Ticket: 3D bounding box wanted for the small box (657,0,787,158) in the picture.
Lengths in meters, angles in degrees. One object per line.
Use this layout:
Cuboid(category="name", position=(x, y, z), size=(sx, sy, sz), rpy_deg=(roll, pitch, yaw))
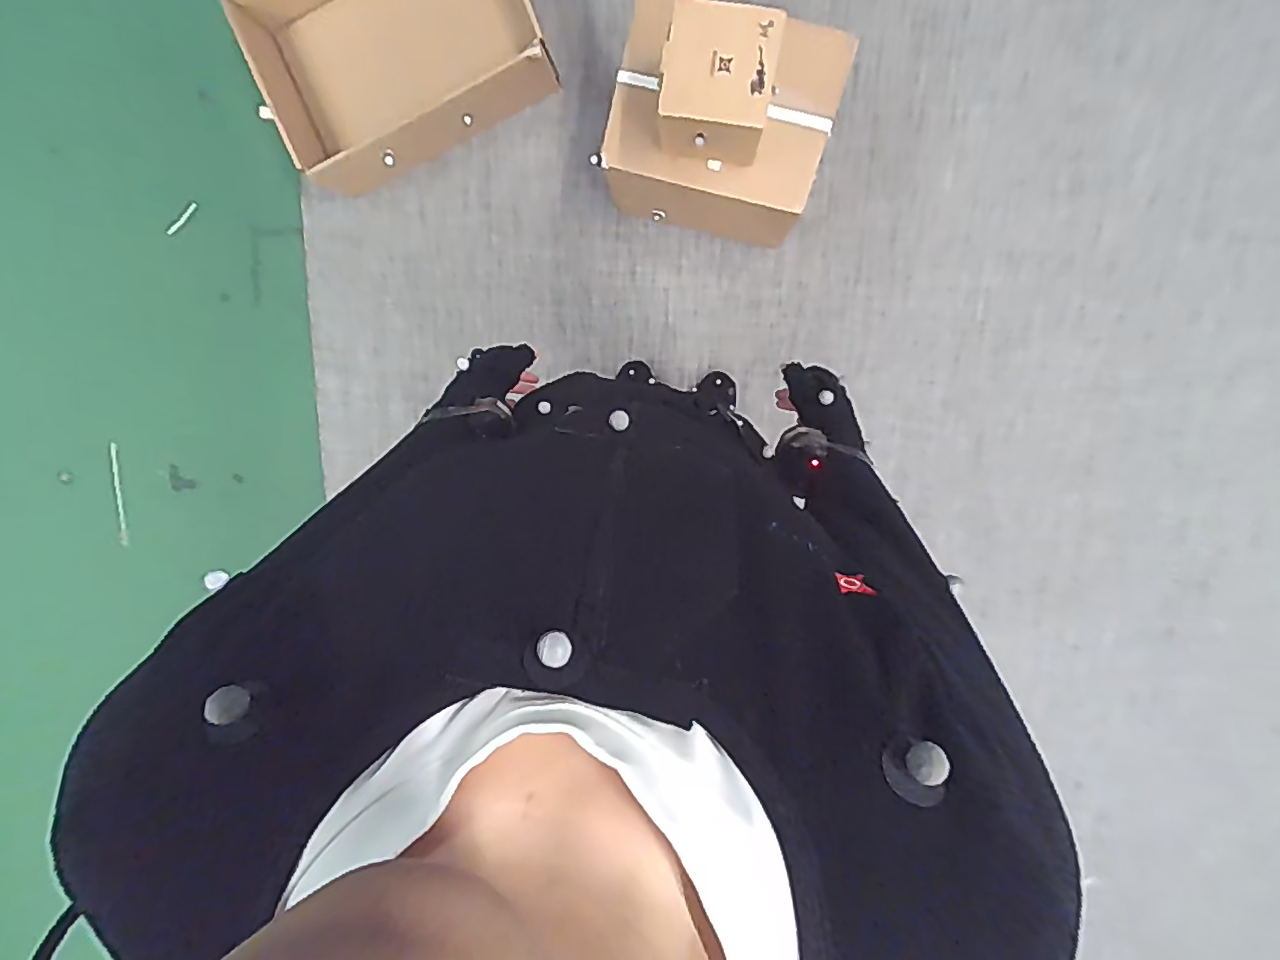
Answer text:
Cuboid(category="small box", position=(0.134, -0.671, 0.914), size=(0.179, 0.176, 0.168), rpy_deg=(10, 103, 4))
